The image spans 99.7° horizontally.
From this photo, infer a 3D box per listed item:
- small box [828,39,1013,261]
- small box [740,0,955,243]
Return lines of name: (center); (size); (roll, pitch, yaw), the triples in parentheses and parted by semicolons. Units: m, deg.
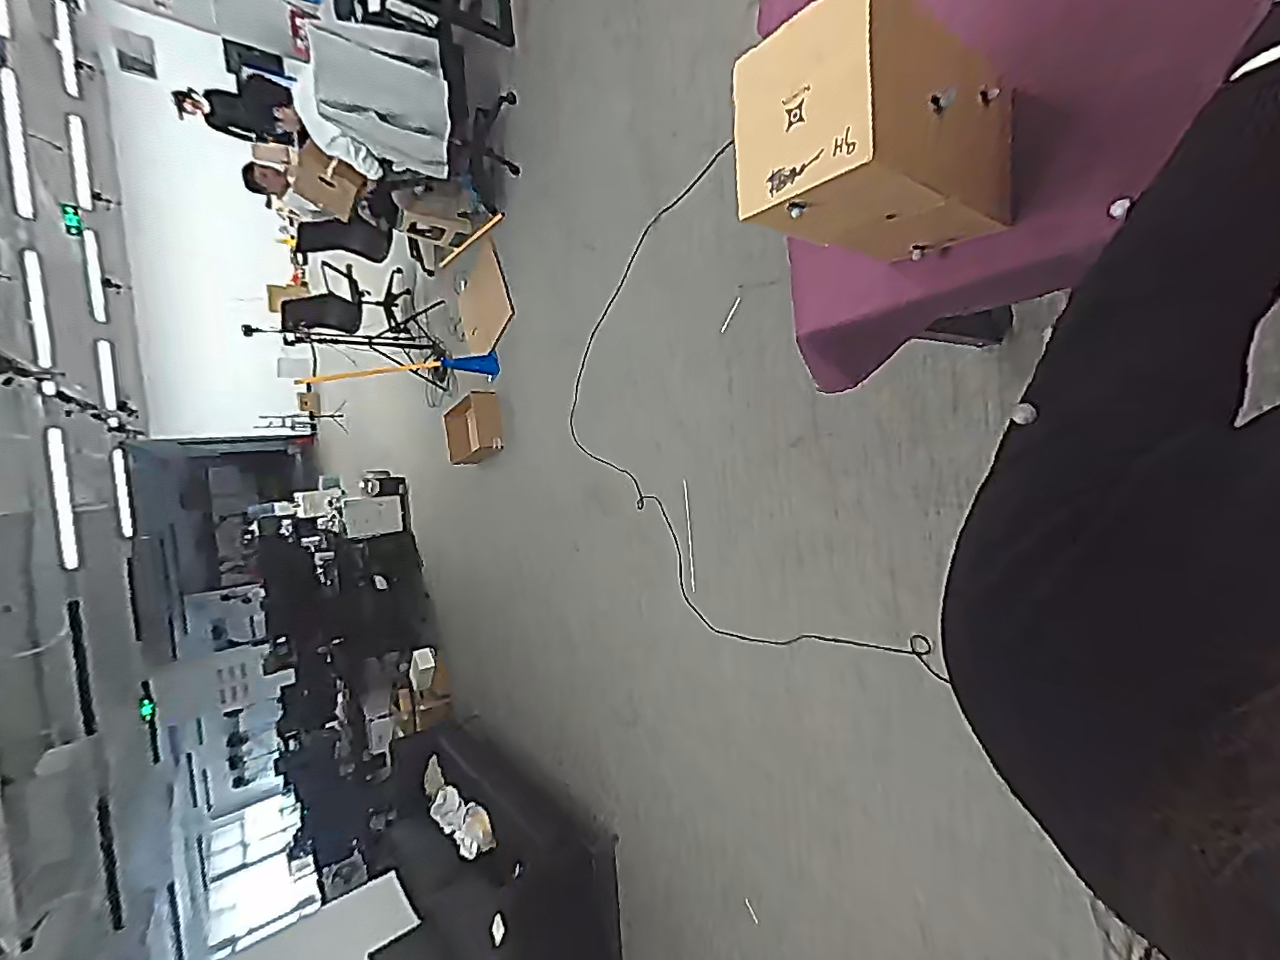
small box: (0.363, -0.406, 0.706); (0.168, 0.176, 0.179); (4, 99, 53)
small box: (0.231, -0.392, 0.607); (0.168, 0.176, 0.179); (4, 97, 54)
